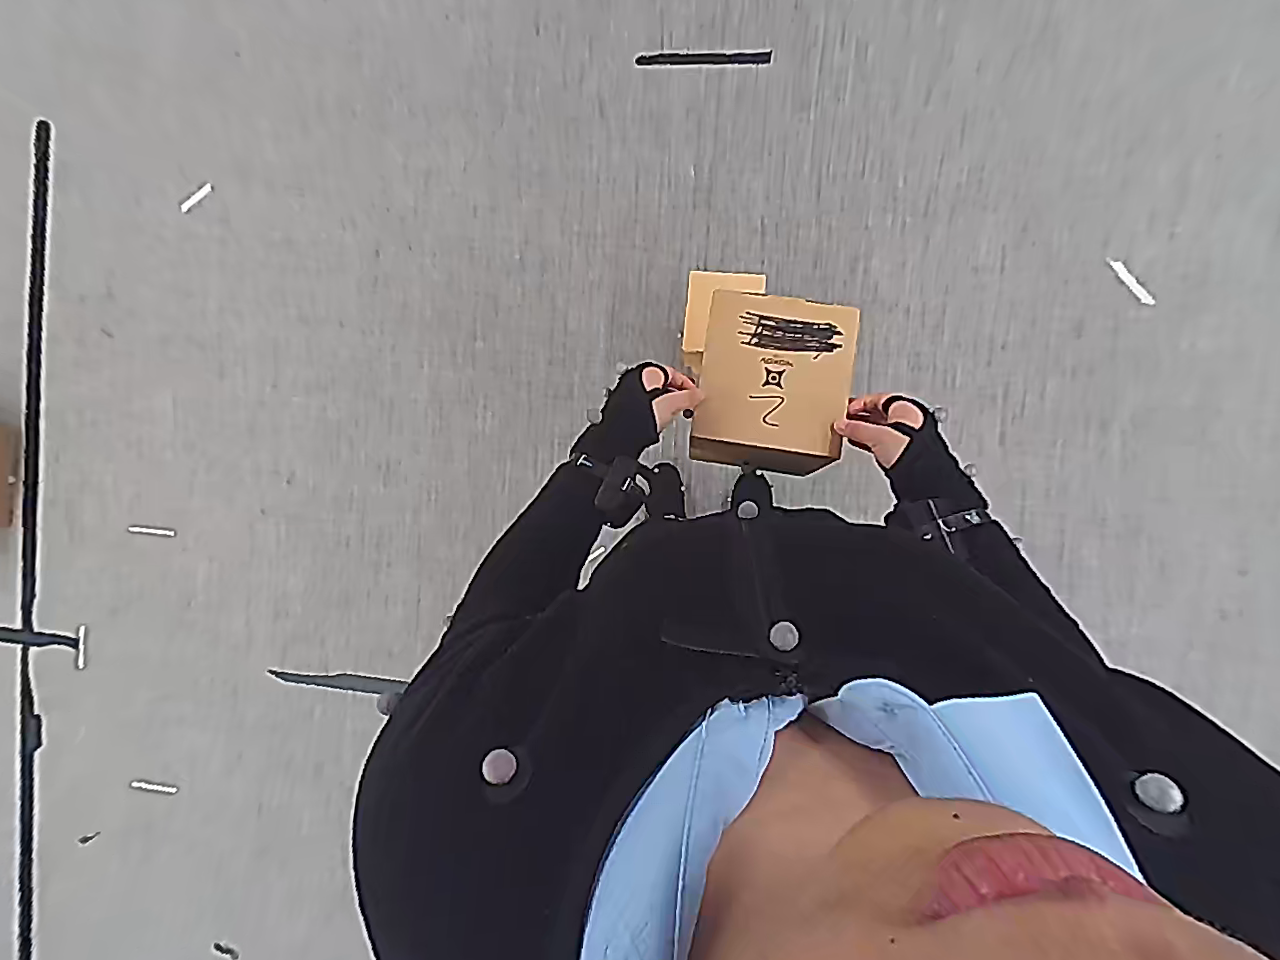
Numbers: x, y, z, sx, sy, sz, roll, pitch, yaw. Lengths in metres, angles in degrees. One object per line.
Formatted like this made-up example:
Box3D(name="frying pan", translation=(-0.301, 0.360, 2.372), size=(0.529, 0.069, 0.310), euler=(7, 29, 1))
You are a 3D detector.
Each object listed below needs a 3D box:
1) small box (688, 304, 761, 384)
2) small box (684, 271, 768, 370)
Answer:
Box3D(name="small box", translation=(0.212, -0.356, 1.397), size=(0.168, 0.176, 0.179), euler=(-7, 91, 6))
Box3D(name="small box", translation=(0.190, -0.358, 1.235), size=(0.168, 0.176, 0.179), euler=(5, 93, 5))
